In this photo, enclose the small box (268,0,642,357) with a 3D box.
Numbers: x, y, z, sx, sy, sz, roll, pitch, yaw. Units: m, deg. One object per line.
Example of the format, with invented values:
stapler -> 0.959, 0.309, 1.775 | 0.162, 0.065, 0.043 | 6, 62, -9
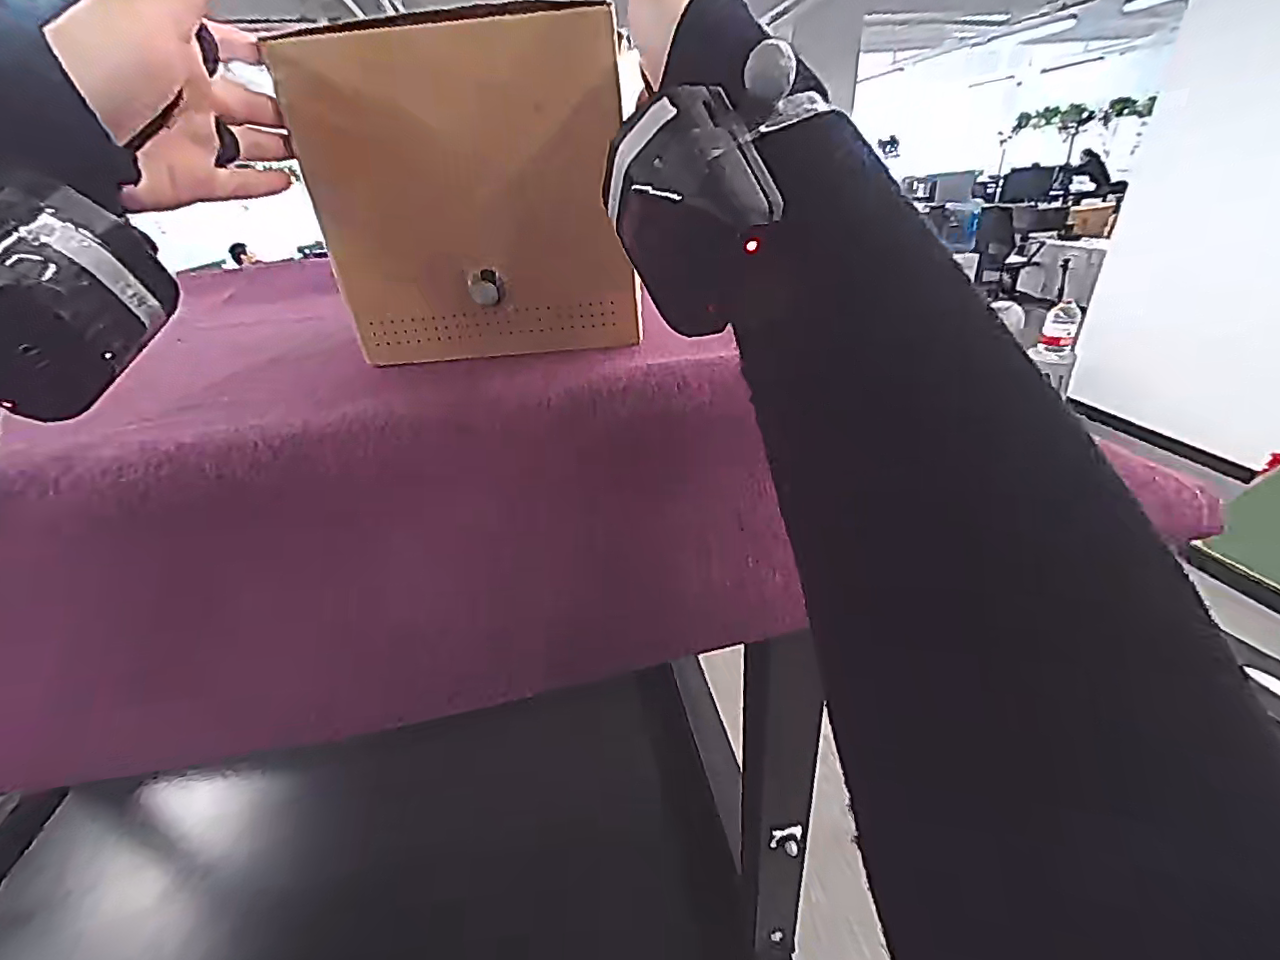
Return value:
small box -> -0.089, -0.189, 0.365 | 0.179, 0.176, 0.168 | -4, 28, 2
